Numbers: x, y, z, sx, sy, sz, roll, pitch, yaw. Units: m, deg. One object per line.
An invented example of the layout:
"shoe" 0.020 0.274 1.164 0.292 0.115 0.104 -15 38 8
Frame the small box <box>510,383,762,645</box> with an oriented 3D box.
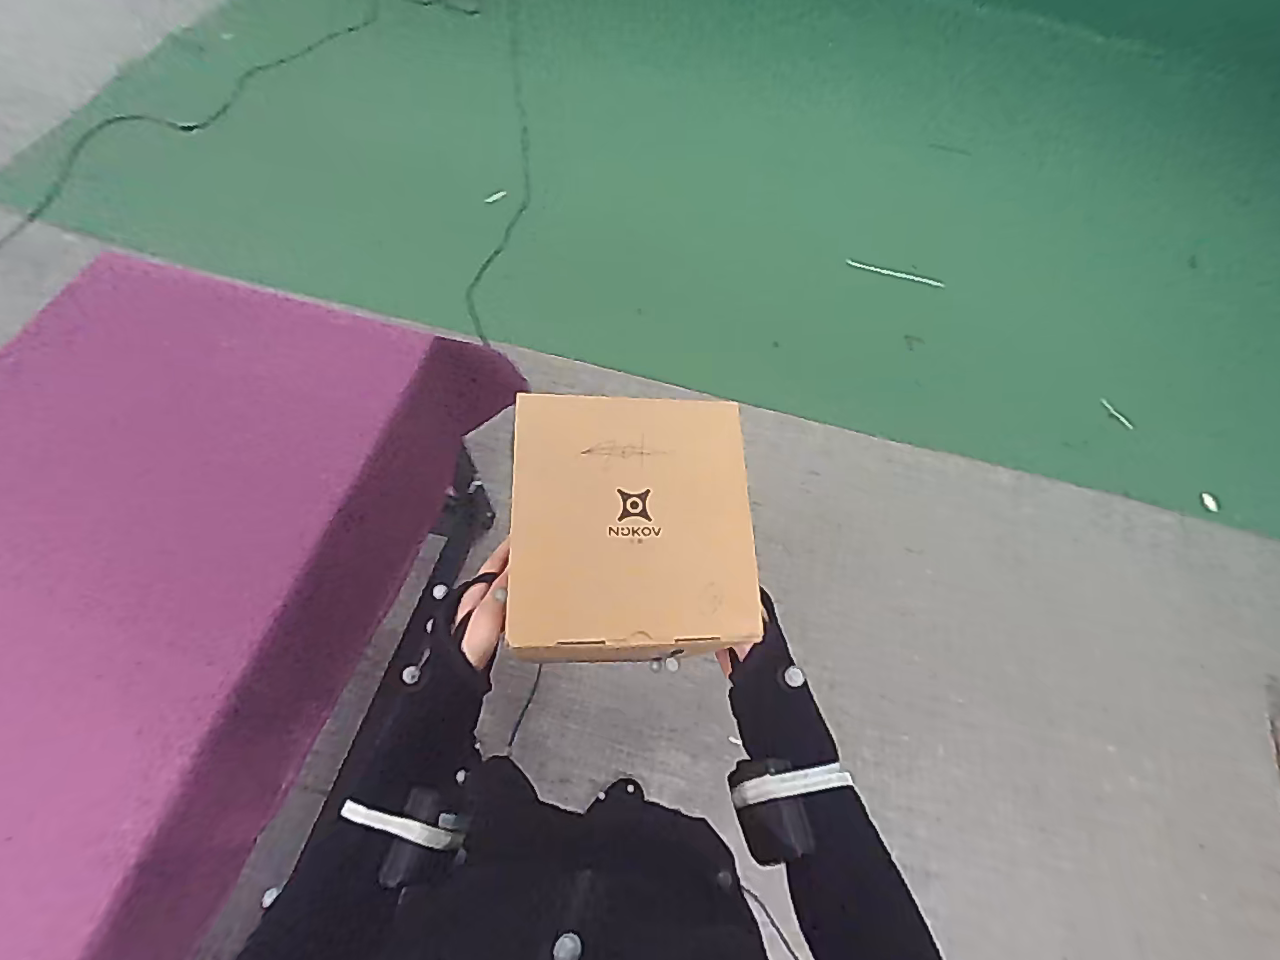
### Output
"small box" -0.011 0.042 0.447 0.168 0.176 0.179 2 68 -9
